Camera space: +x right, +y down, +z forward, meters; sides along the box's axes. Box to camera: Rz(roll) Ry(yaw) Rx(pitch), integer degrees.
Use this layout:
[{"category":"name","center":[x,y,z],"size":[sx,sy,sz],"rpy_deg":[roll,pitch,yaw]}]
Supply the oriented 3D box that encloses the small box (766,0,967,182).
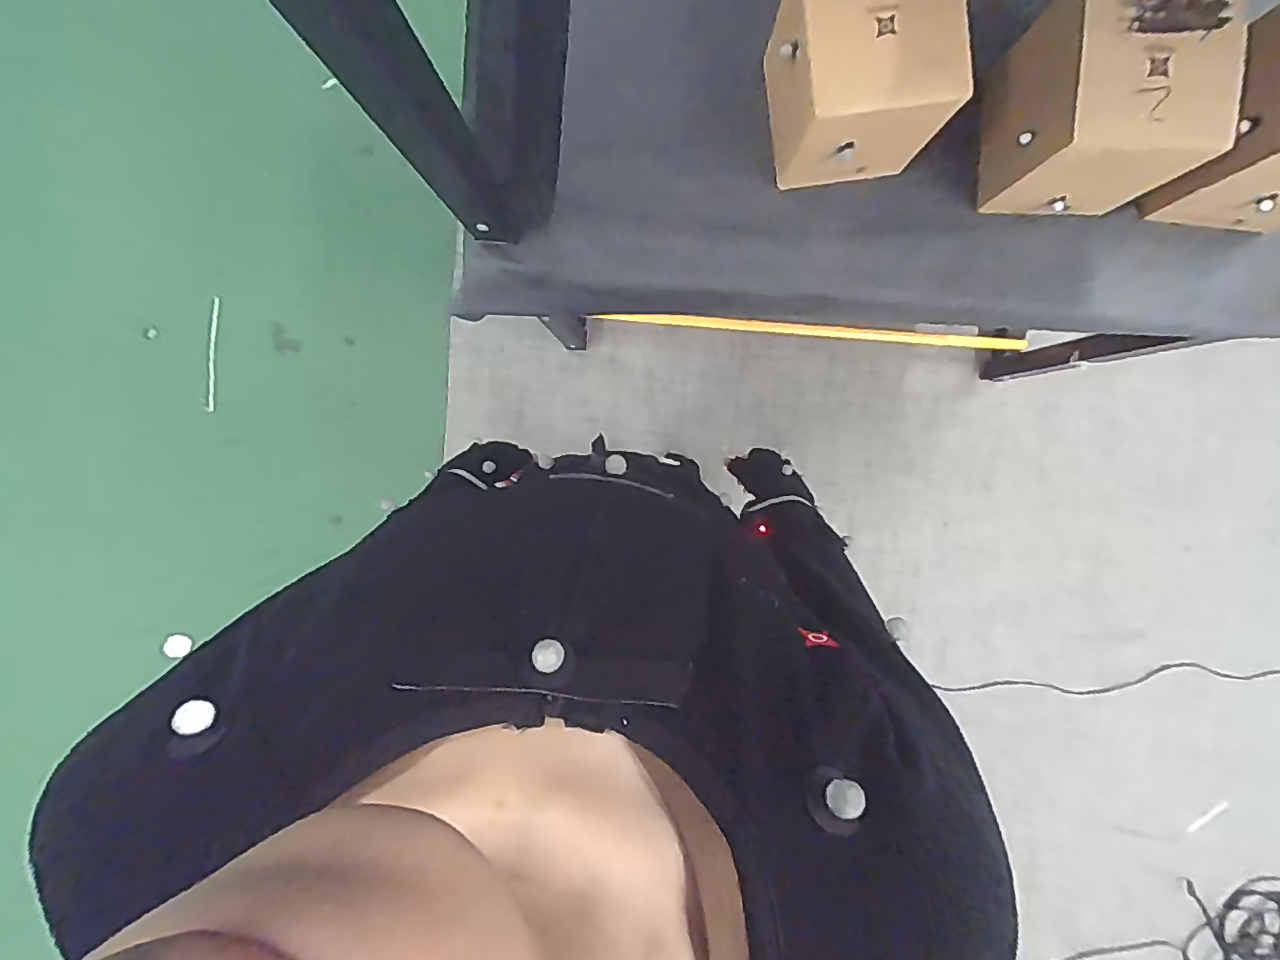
[{"category":"small box","center":[0.252,-0.478,0.637],"size":[0.168,0.176,0.179],"rpy_deg":[-7,93,2]}]
